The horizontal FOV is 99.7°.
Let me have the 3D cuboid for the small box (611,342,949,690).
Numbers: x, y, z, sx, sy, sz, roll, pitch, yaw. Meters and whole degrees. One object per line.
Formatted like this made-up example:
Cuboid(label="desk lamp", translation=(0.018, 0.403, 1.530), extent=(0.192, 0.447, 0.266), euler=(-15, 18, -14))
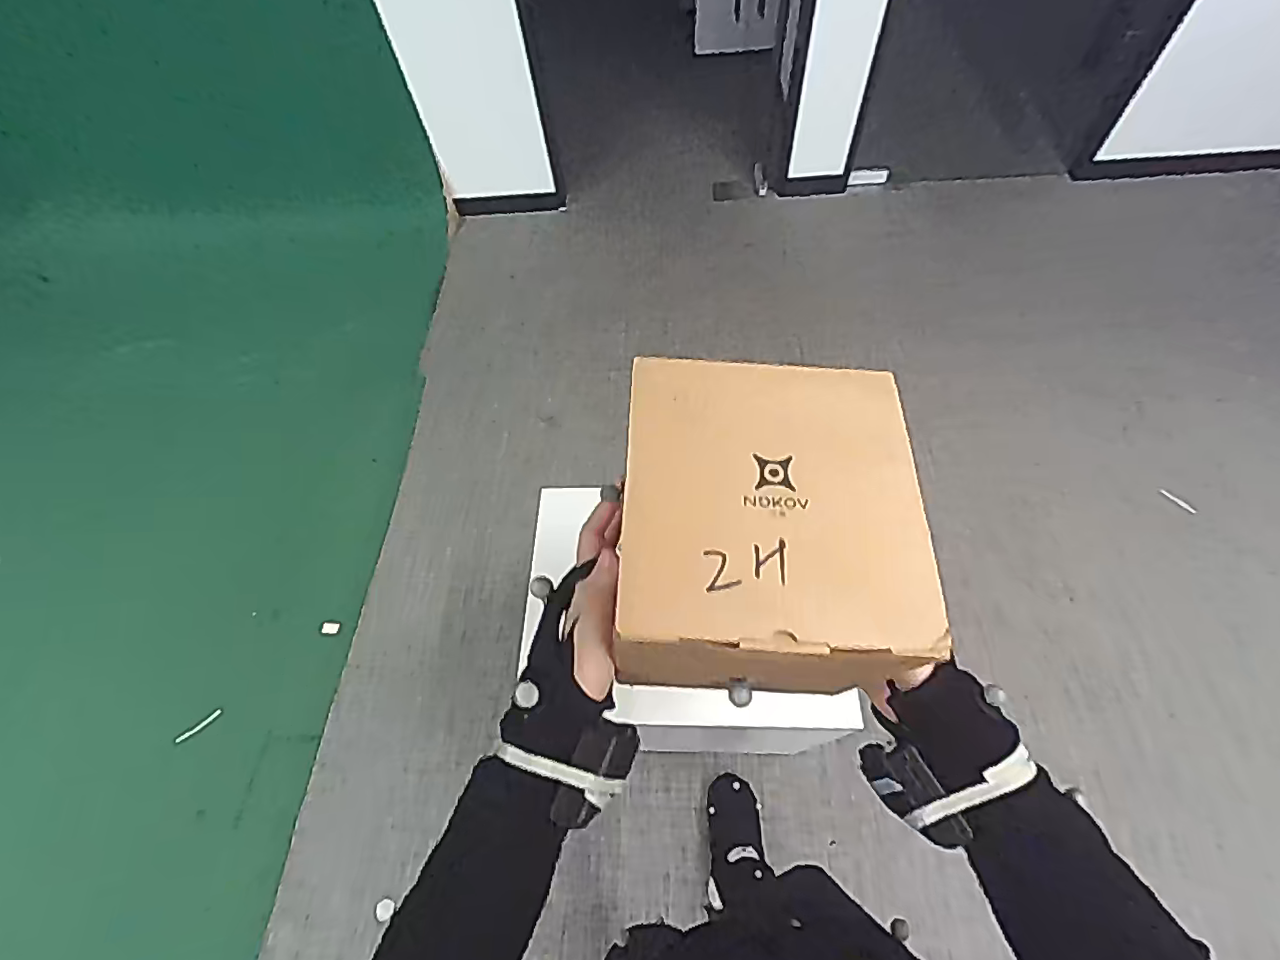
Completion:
Cuboid(label="small box", translation=(0.068, 0.033, 0.368), extent=(0.168, 0.176, 0.179), euler=(3, 60, 0))
